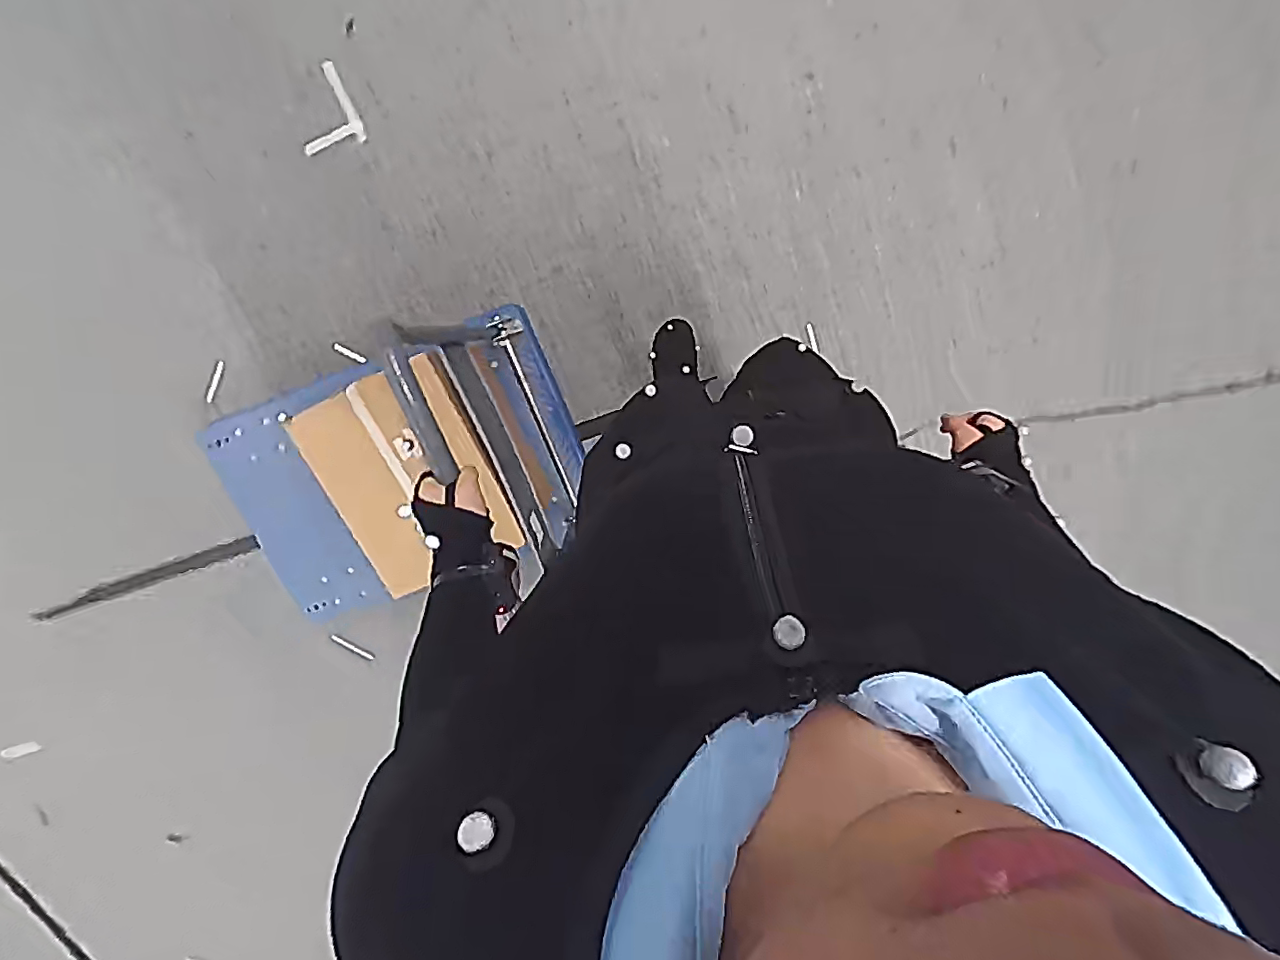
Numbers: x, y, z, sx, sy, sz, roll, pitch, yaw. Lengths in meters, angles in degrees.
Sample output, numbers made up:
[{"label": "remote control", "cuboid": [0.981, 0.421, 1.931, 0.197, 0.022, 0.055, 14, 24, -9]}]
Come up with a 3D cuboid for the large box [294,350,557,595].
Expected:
[{"label": "large box", "cuboid": [-0.425, -0.034, 1.179, 0.320, 0.320, 0.408, -23, 103, 7]}]
